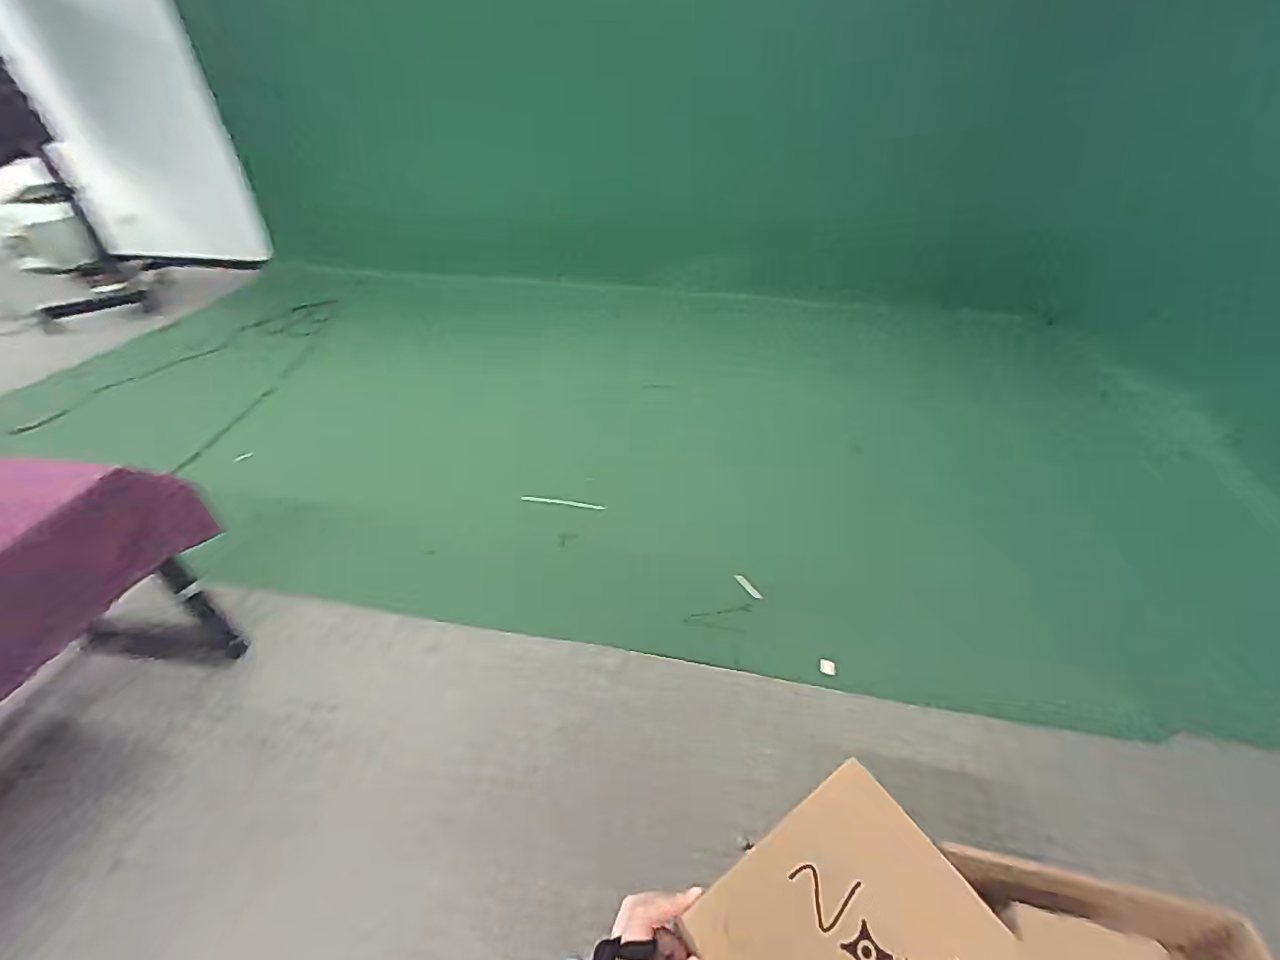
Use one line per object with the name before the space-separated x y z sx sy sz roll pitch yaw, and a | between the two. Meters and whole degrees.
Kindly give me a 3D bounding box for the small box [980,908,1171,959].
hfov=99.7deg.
small box | 0.548 0.678 0.663 0.168 0.176 0.179 8 38 13
